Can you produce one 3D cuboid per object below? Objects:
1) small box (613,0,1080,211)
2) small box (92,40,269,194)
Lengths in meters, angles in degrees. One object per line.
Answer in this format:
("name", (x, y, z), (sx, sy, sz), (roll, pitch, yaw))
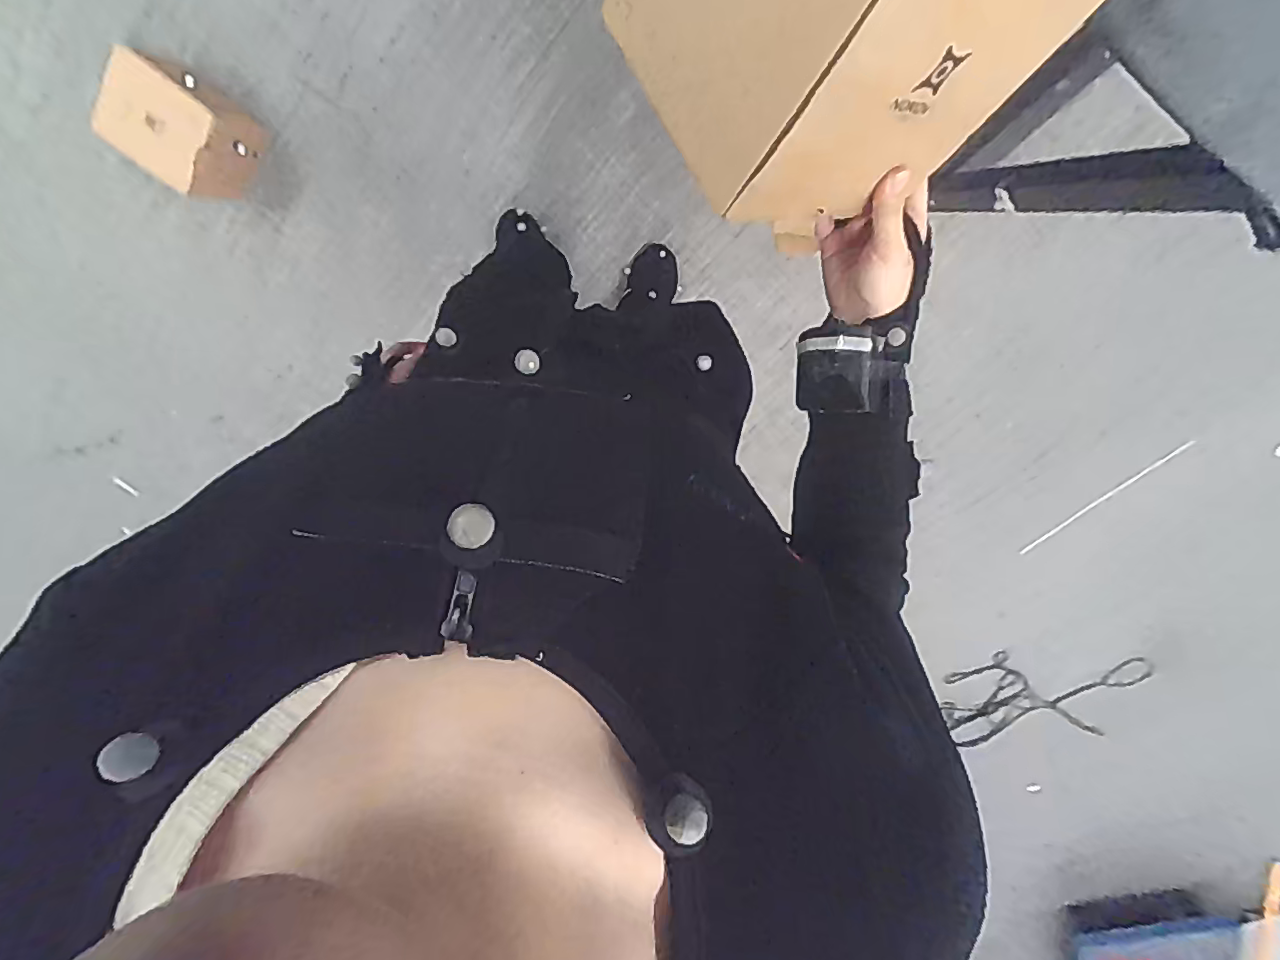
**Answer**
("small box", (0.102, -0.279, 0.295), (0.176, 0.168, 0.179), (64, 148, 11))
("small box", (-0.866, -0.679, 1.037), (0.179, 0.176, 0.168), (36, 110, -15))
